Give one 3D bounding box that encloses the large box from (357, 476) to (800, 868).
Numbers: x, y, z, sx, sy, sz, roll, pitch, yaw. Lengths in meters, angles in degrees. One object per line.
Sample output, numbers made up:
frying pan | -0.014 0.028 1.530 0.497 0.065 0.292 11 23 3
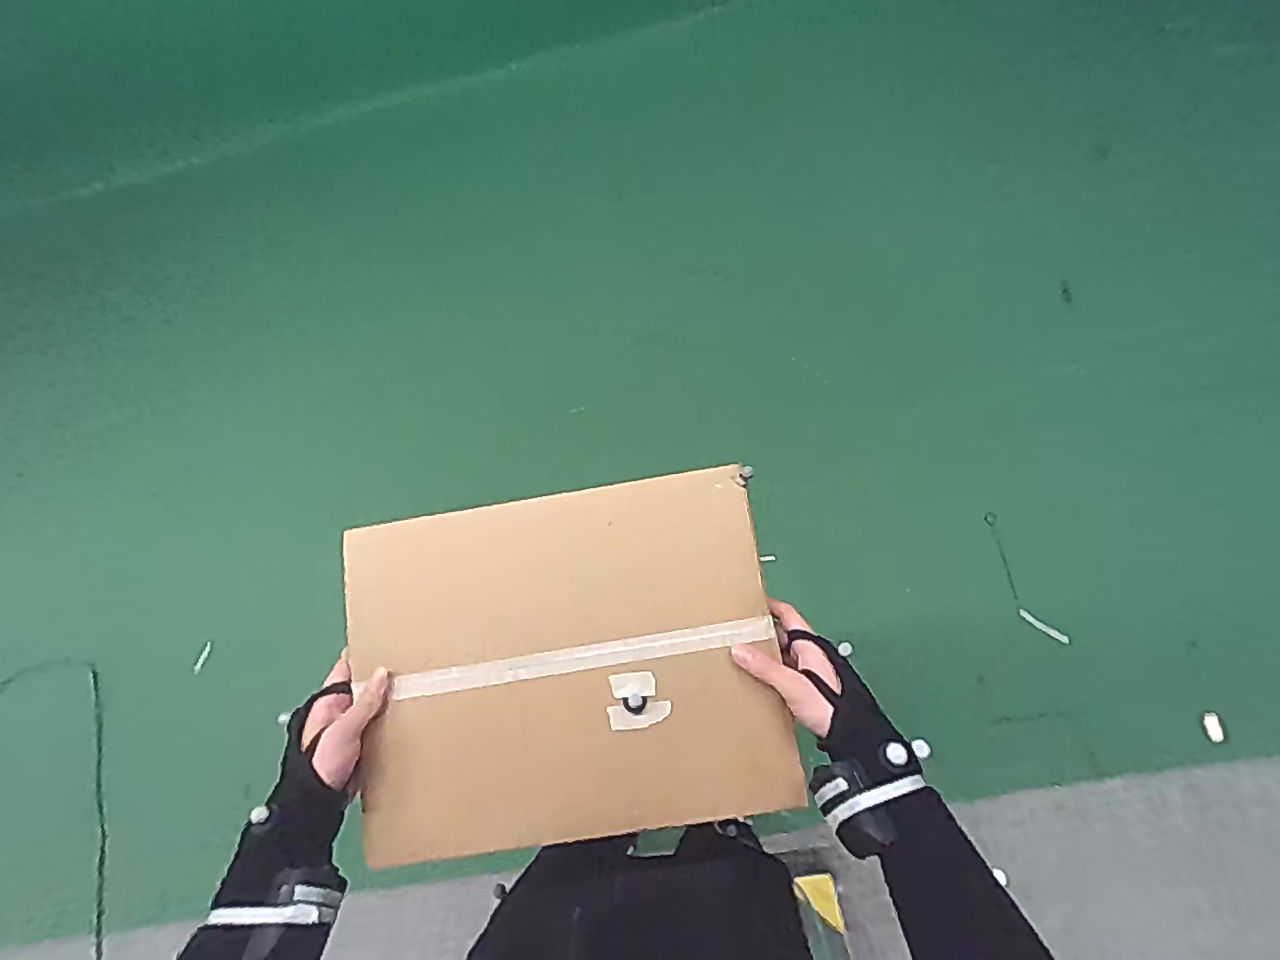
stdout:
large box | -0.065 0.205 0.670 0.408 0.320 0.320 -10 81 2
